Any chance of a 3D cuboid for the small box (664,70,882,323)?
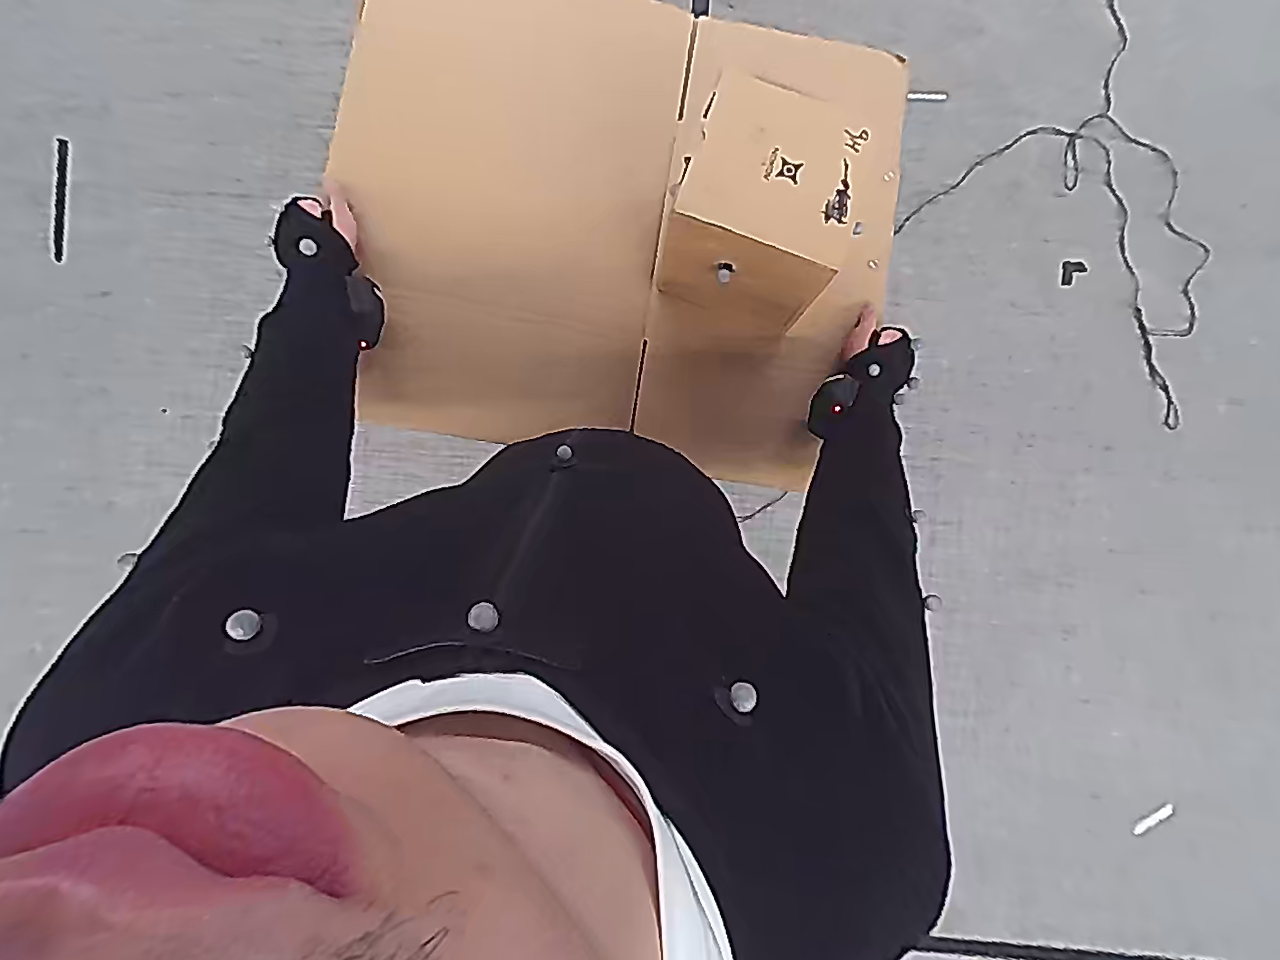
[{"bbox_3d":[0.134,-0.303,0.616,0.179,0.176,0.168,19,84,0],"label":"small box"}]
